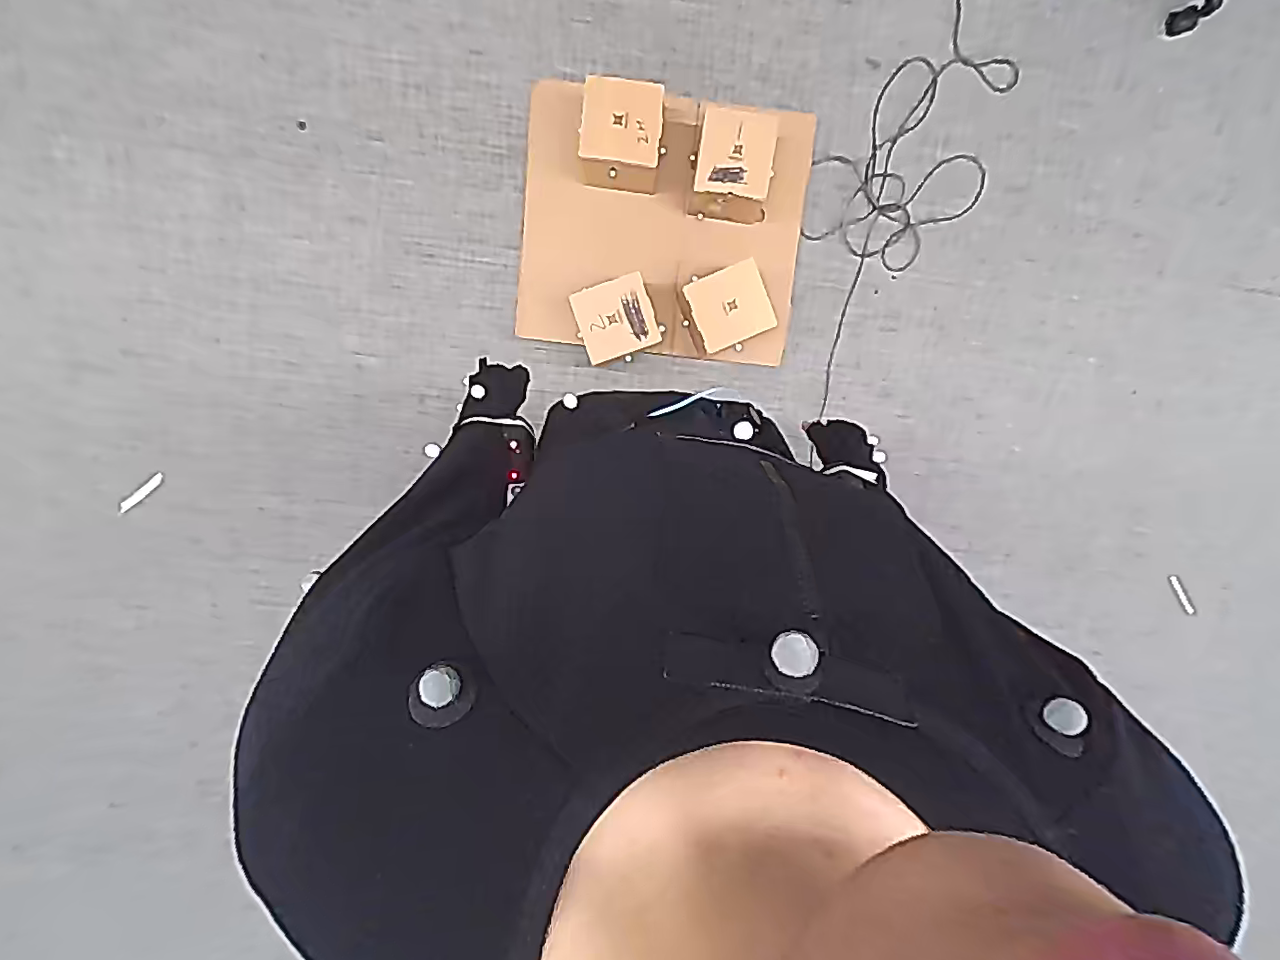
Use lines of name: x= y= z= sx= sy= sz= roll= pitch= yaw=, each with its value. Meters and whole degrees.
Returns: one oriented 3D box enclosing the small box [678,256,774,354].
small box: x=0.203 y=-0.419 z=1.323 sx=0.179 sy=0.176 sz=0.168 roll=-22 pitch=99 yaw=4
